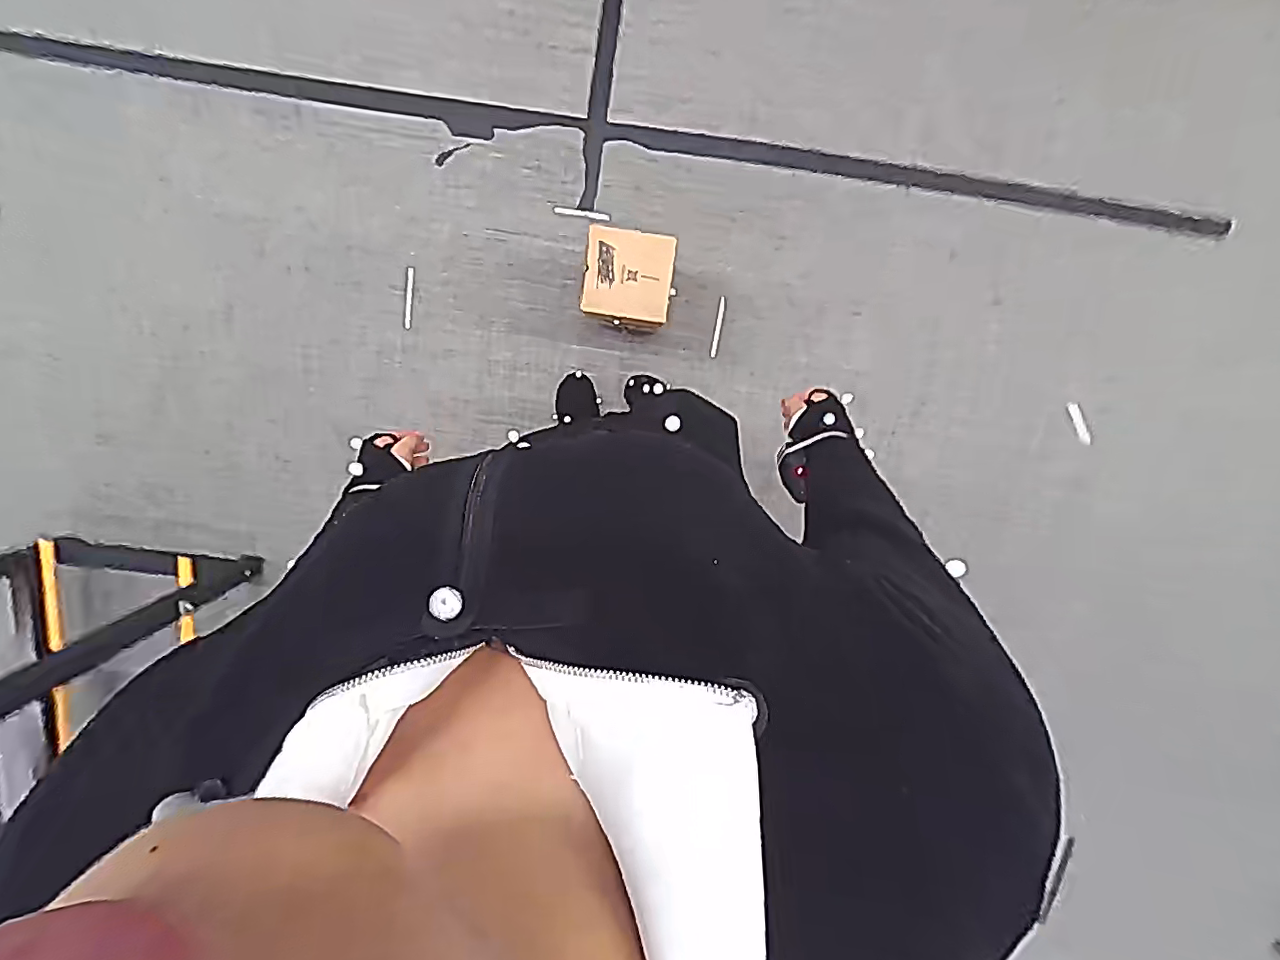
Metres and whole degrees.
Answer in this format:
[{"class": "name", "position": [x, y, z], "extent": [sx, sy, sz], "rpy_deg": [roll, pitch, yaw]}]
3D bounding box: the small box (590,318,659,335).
[{"class": "small box", "position": [-0.019, -0.453, 1.314], "extent": [0.168, 0.176, 0.179], "rpy_deg": [10, 103, -3]}]

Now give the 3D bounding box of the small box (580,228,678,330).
[{"class": "small box", "position": [-0.022, -0.418, 1.152], "extent": [0.179, 0.176, 0.168], "rpy_deg": [8, 102, -2]}]
